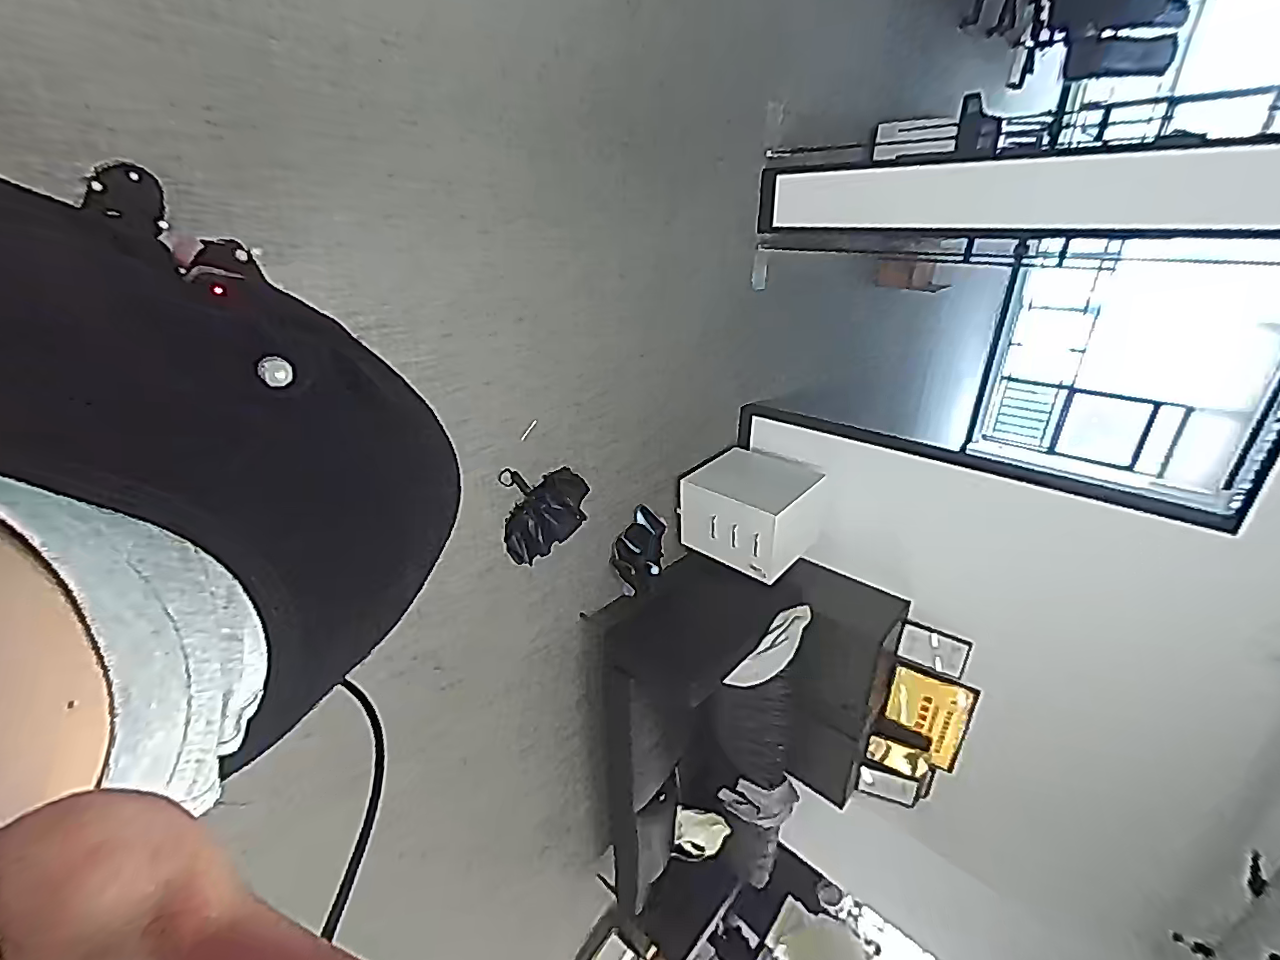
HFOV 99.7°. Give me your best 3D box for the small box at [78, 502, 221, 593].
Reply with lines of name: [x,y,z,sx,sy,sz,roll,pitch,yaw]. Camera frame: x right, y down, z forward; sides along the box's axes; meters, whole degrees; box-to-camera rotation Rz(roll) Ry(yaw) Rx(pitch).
small box: [-1.098,0.165,1.211,0.179,0.176,0.168,38,76,-51]

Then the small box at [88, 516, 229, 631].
small box: [-0.978,0.189,1.096,0.168,0.176,0.179,17,91,-54]
